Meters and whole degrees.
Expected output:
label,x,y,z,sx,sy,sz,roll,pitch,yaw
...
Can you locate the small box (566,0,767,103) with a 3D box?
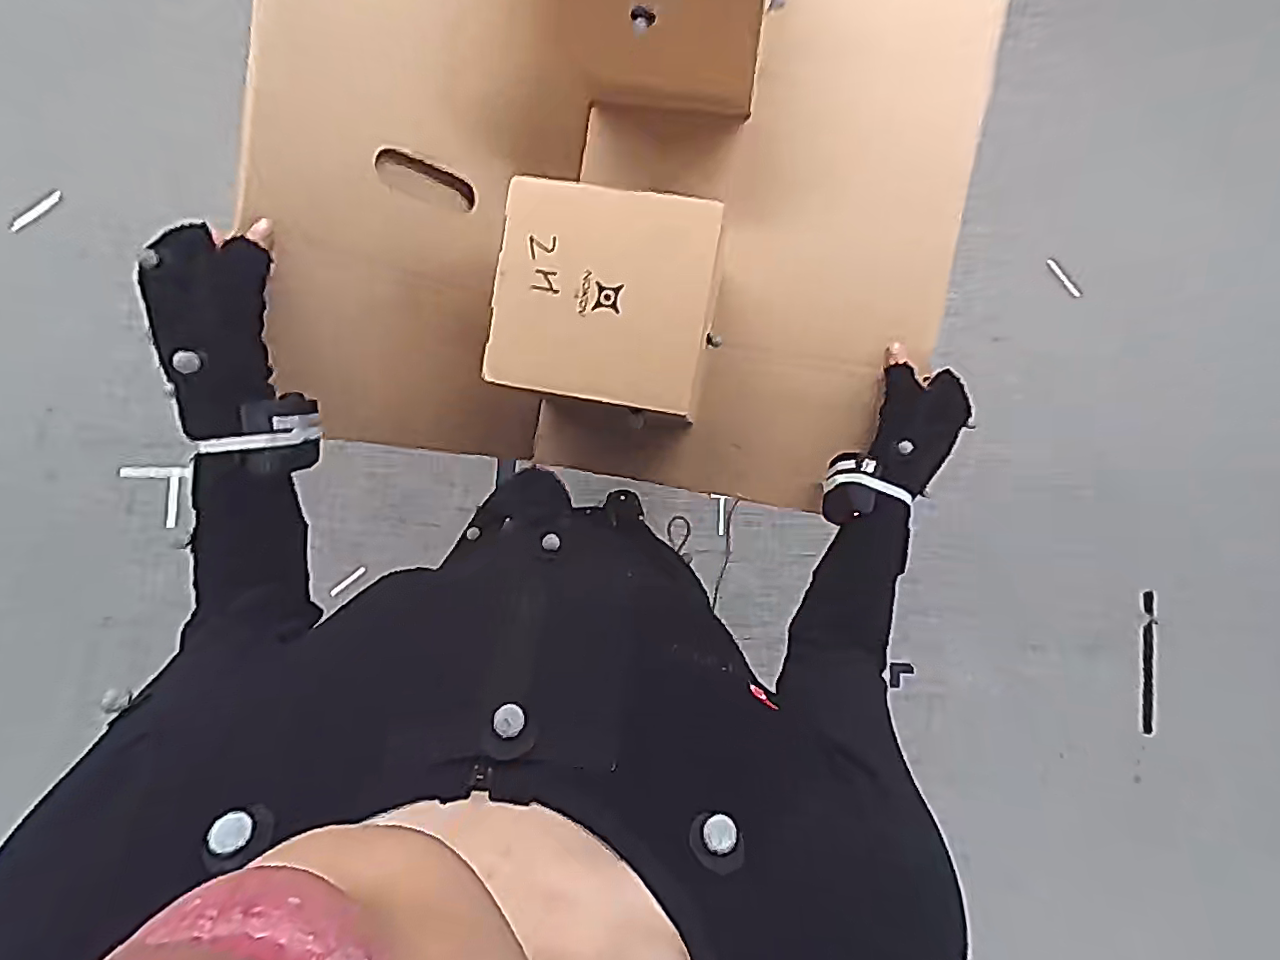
label,x,y,z,sx,sy,sz,roll,pitch,yaw
small box,0.030,-0.477,0.487,0.179,0.176,0.168,10,96,7
